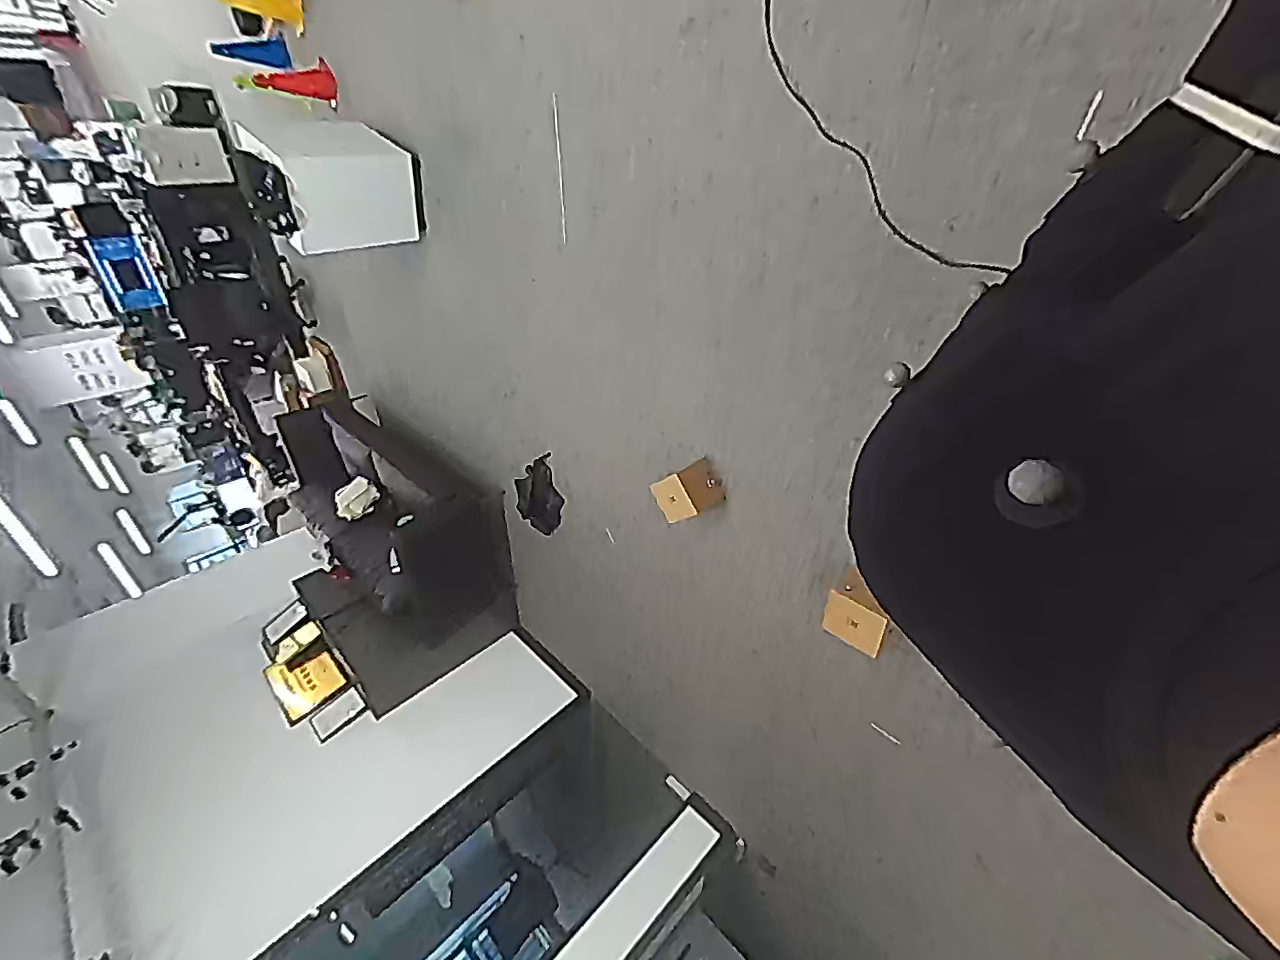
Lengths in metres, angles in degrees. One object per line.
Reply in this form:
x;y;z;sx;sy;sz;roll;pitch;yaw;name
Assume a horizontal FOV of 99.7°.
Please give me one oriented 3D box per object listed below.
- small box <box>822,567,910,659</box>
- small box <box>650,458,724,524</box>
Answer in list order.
0.678;0.388;1.618;0.179;0.176;0.168;28;132;38;small box
0.177;0.039;1.993;0.179;0.176;0.168;-28;92;53;small box
